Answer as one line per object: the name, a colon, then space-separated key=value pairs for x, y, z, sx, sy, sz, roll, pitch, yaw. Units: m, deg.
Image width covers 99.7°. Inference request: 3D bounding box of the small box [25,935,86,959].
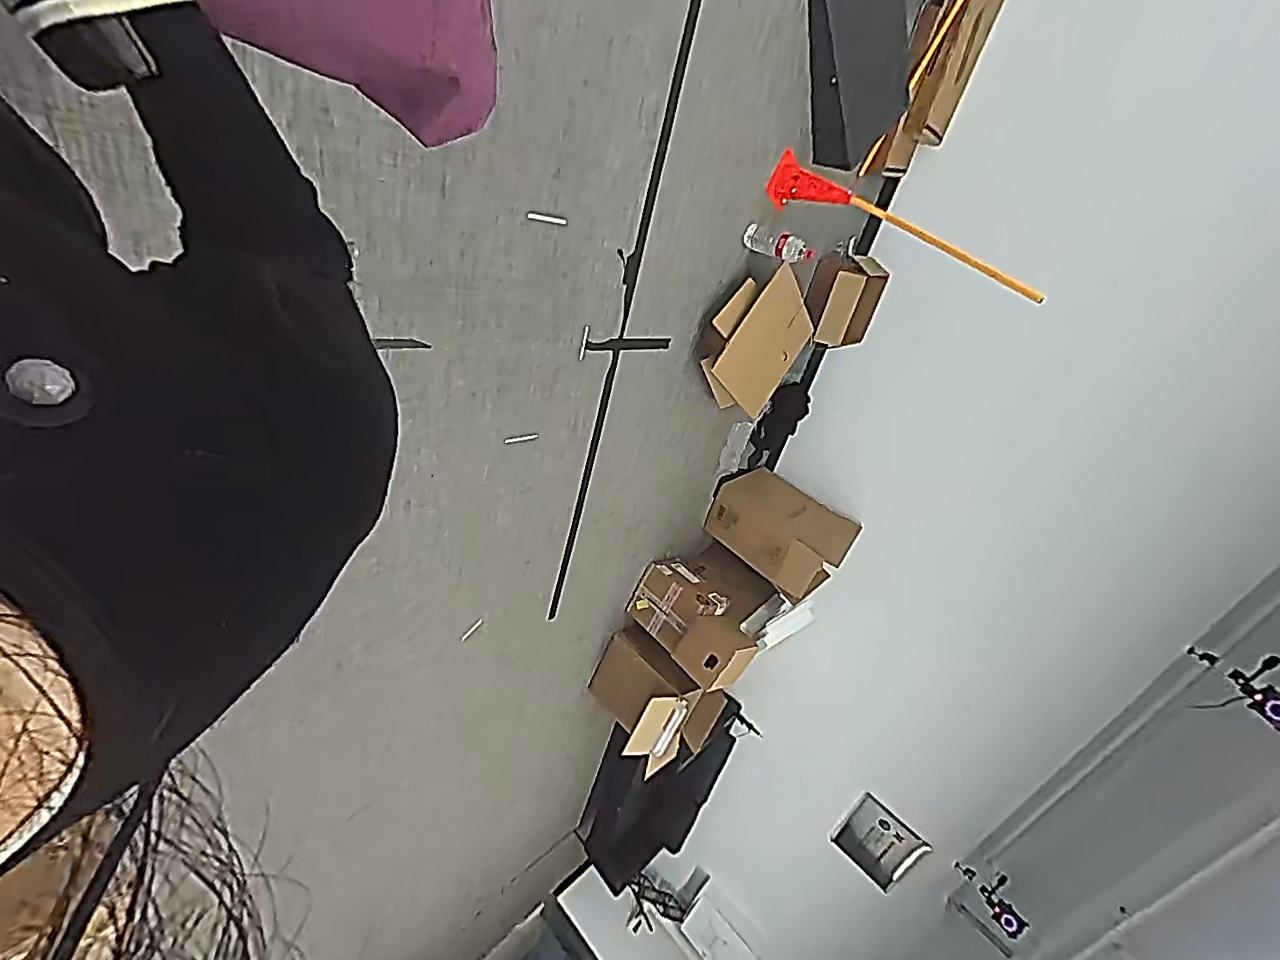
small box: x=-1.525 y=1.320 z=1.367 sx=0.179 sy=0.176 sz=0.168 roll=-17 pitch=132 yaw=-44
